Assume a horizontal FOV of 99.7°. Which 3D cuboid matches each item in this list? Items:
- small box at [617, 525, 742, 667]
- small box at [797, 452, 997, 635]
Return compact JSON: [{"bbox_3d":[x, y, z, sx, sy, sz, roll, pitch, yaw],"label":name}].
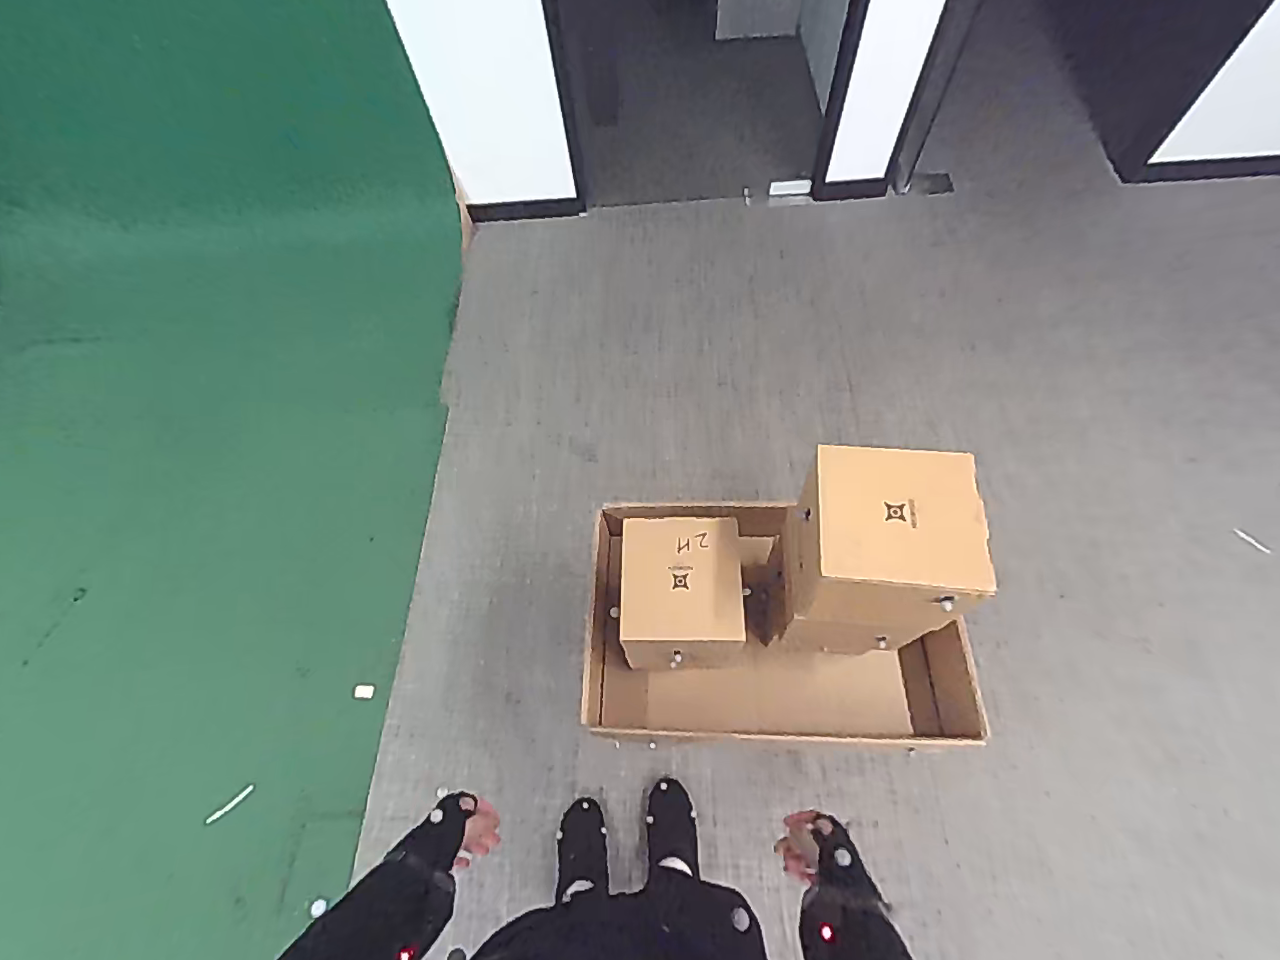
[{"bbox_3d":[0.060,0.177,0.803,0.168,0.176,0.179,0,62,4],"label":"small box"},{"bbox_3d":[0.288,0.082,0.654,0.179,0.176,0.168,4,62,8],"label":"small box"}]
